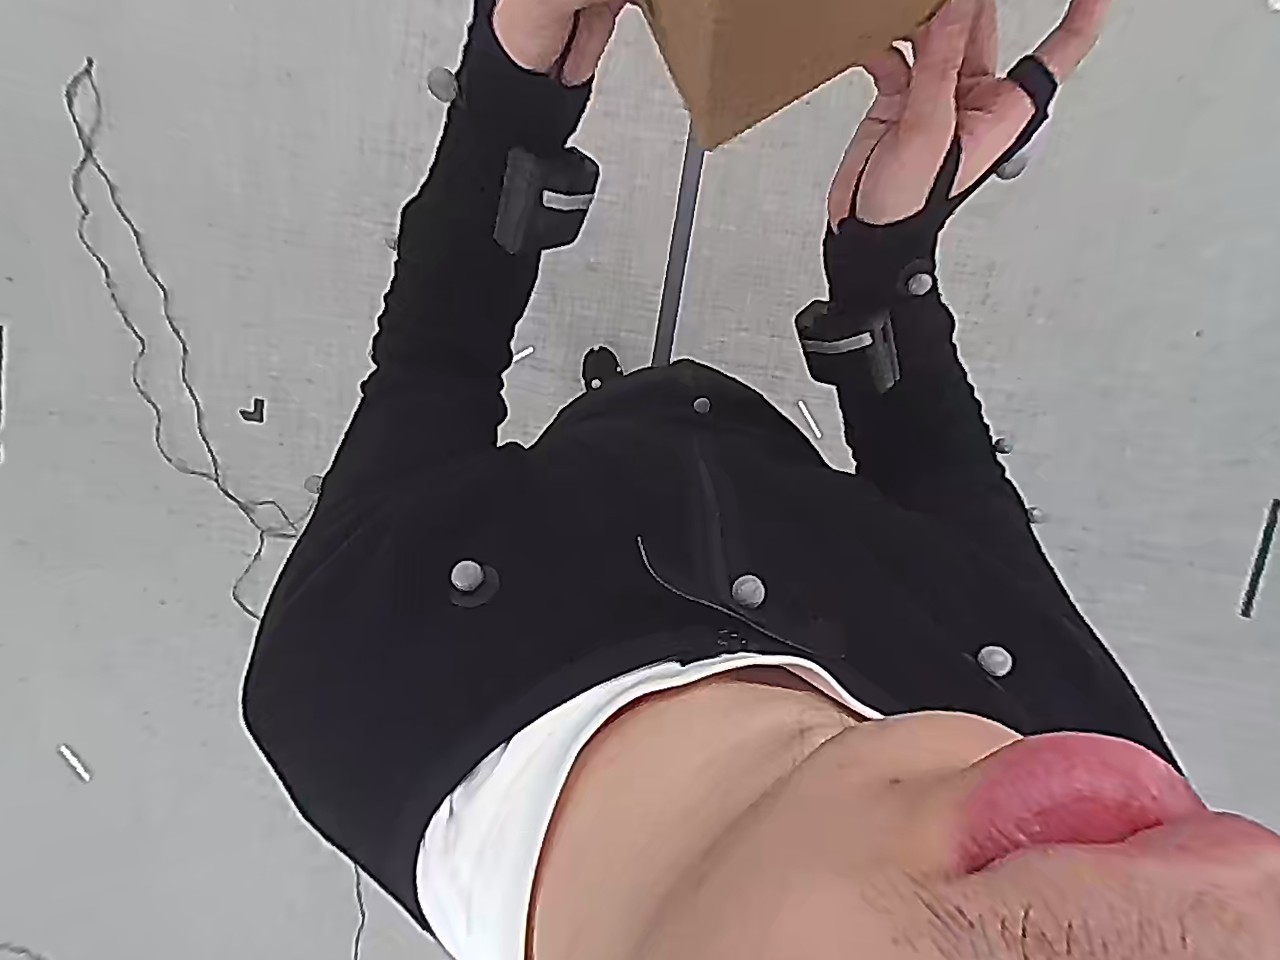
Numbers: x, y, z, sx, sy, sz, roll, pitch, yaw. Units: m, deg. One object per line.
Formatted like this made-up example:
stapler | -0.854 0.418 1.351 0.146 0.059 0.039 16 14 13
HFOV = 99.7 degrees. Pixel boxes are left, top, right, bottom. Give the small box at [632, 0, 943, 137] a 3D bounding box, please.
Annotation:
small box | 0.062 -0.259 0.170 0.179 0.176 0.168 -28 98 12
